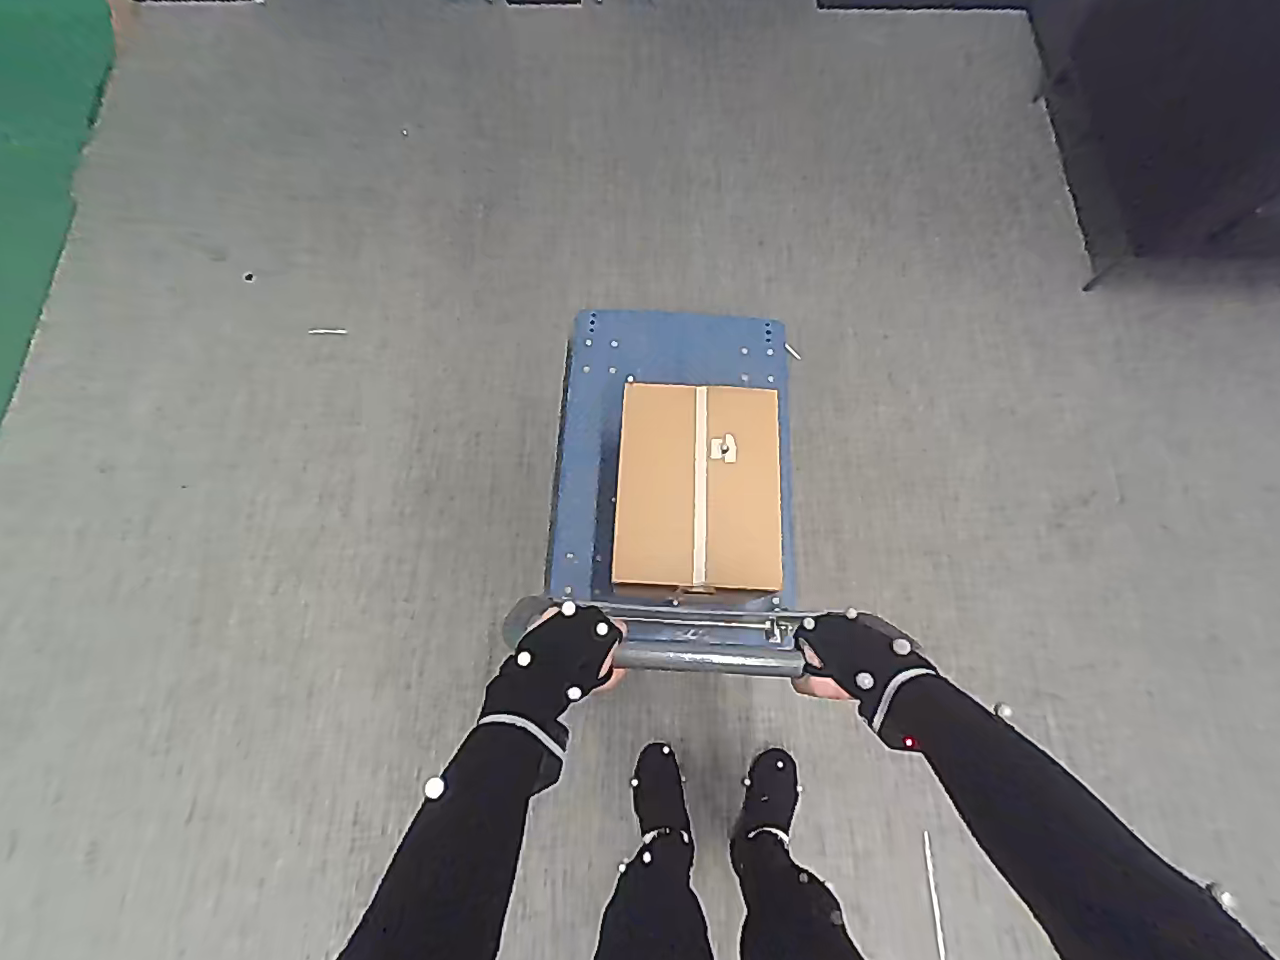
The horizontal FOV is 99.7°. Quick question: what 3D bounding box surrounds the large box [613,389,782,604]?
[{"bbox_3d":[0.110,0.054,1.185,0.320,0.320,0.408,3,72,-1],"label":"large box"}]
